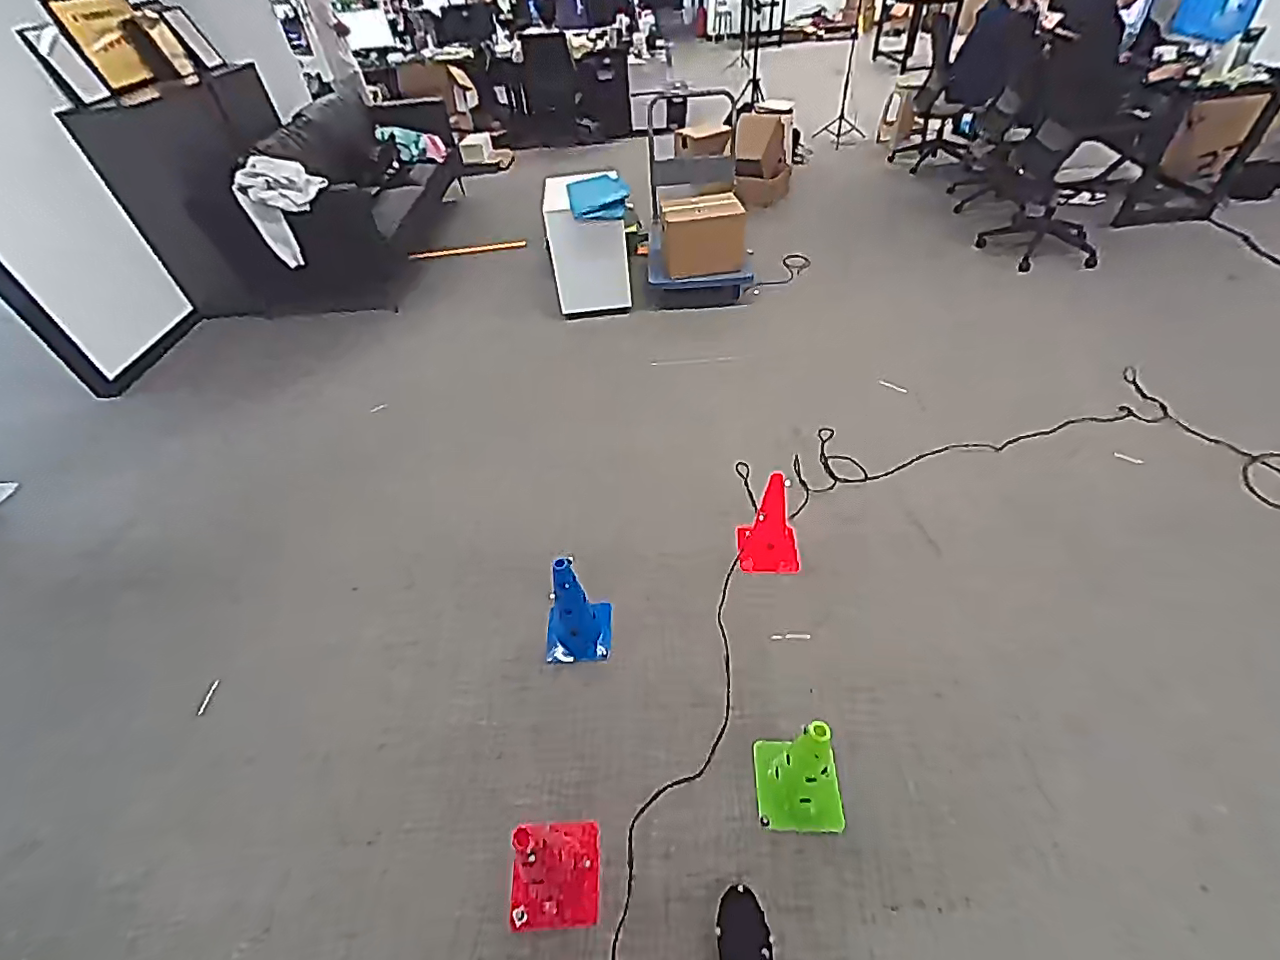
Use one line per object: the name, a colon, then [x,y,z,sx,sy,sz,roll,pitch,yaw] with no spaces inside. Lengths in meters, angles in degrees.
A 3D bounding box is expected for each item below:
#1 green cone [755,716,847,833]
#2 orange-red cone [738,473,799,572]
green cone: [0.382,0.630,1.216,0.200,0.368,0.202,-1,44,4]
orange-red cone: [0.422,0.115,1.734,0.198,0.360,0.199,-1,46,7]
